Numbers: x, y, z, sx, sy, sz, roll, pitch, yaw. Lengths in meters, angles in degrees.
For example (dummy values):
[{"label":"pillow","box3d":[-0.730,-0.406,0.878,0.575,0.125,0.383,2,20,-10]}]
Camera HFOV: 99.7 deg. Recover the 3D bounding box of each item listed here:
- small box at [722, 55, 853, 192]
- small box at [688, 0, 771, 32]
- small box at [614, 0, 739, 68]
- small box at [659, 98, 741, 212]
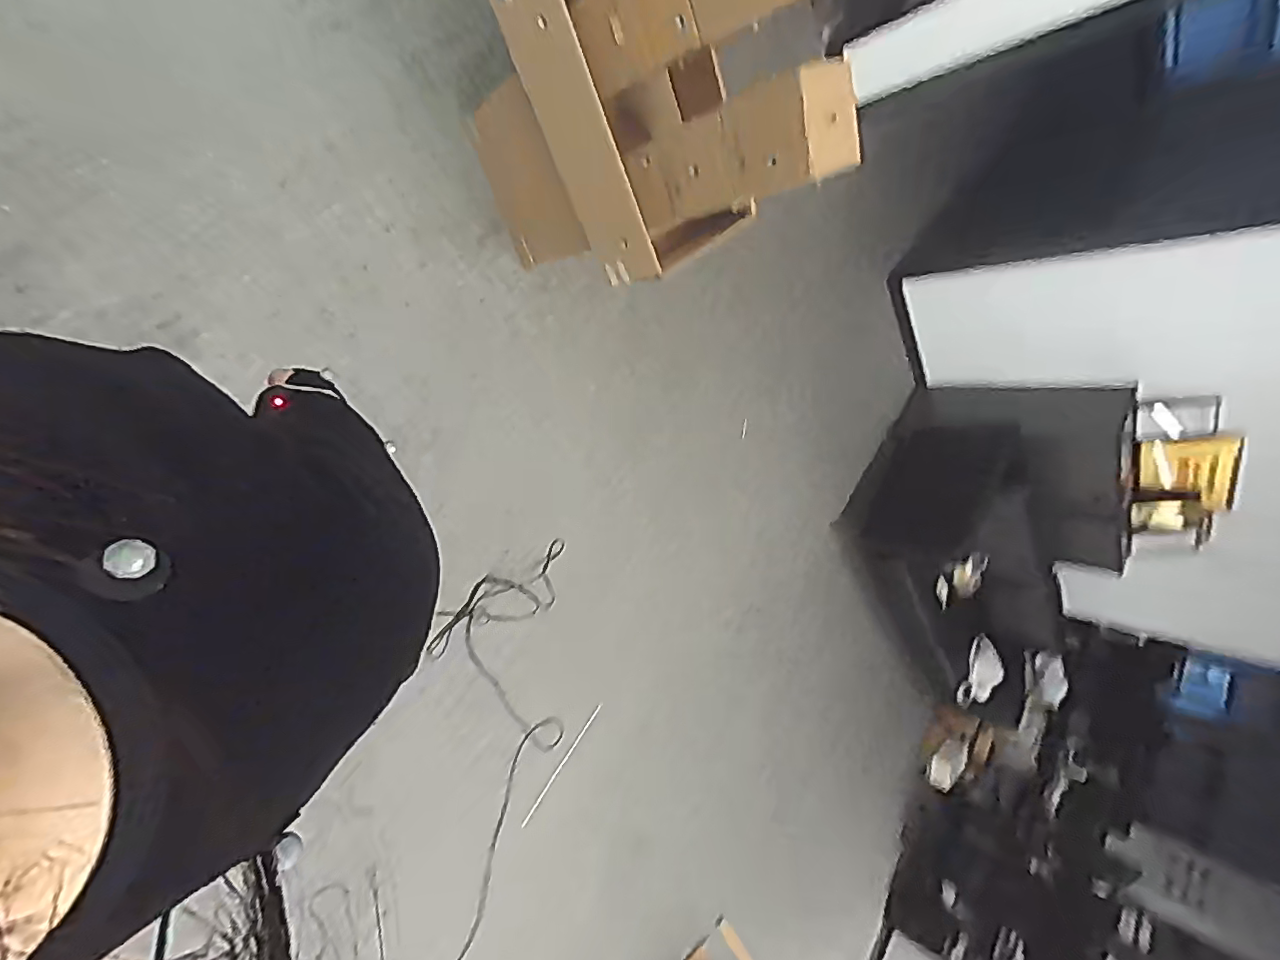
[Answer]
[{"label":"small box","box3d":[0.269,-0.654,1.004,0.179,0.176,0.168,-36,121,-33]},{"label":"small box","box3d":[0.170,-0.878,0.872,0.168,0.176,0.179,-44,126,-27]},{"label":"small box","box3d":[0.061,-0.905,0.992,0.168,0.176,0.179,-44,126,-28]},{"label":"small box","box3d":[0.159,-0.676,1.124,0.179,0.176,0.168,-36,121,-31]}]
